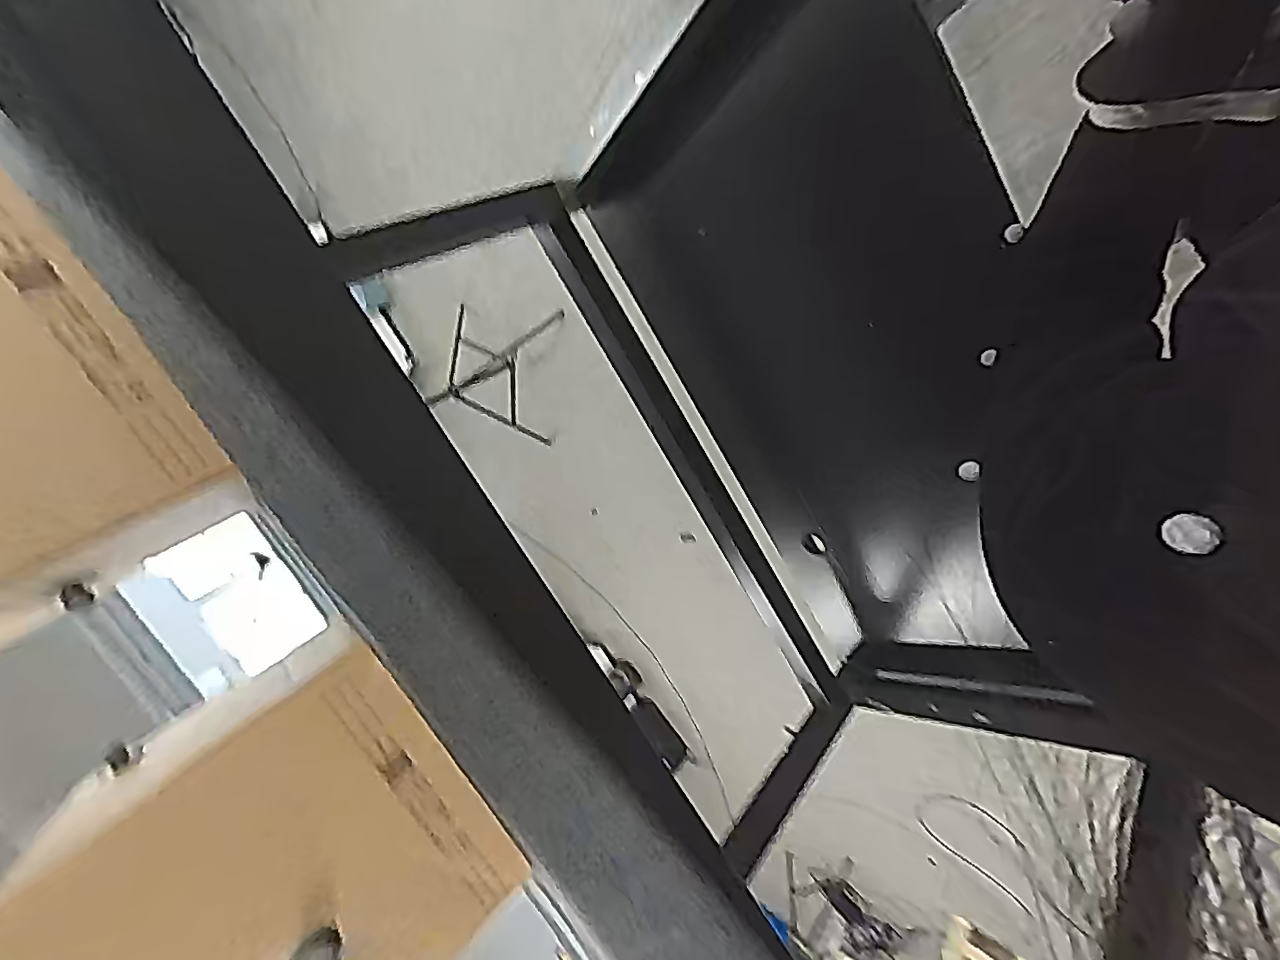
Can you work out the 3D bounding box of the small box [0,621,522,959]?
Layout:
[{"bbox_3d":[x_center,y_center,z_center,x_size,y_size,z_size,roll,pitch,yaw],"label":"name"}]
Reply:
[{"bbox_3d":[-0.196,0.205,0.325,0.179,0.176,0.168,-12,111,57],"label":"small box"}]
